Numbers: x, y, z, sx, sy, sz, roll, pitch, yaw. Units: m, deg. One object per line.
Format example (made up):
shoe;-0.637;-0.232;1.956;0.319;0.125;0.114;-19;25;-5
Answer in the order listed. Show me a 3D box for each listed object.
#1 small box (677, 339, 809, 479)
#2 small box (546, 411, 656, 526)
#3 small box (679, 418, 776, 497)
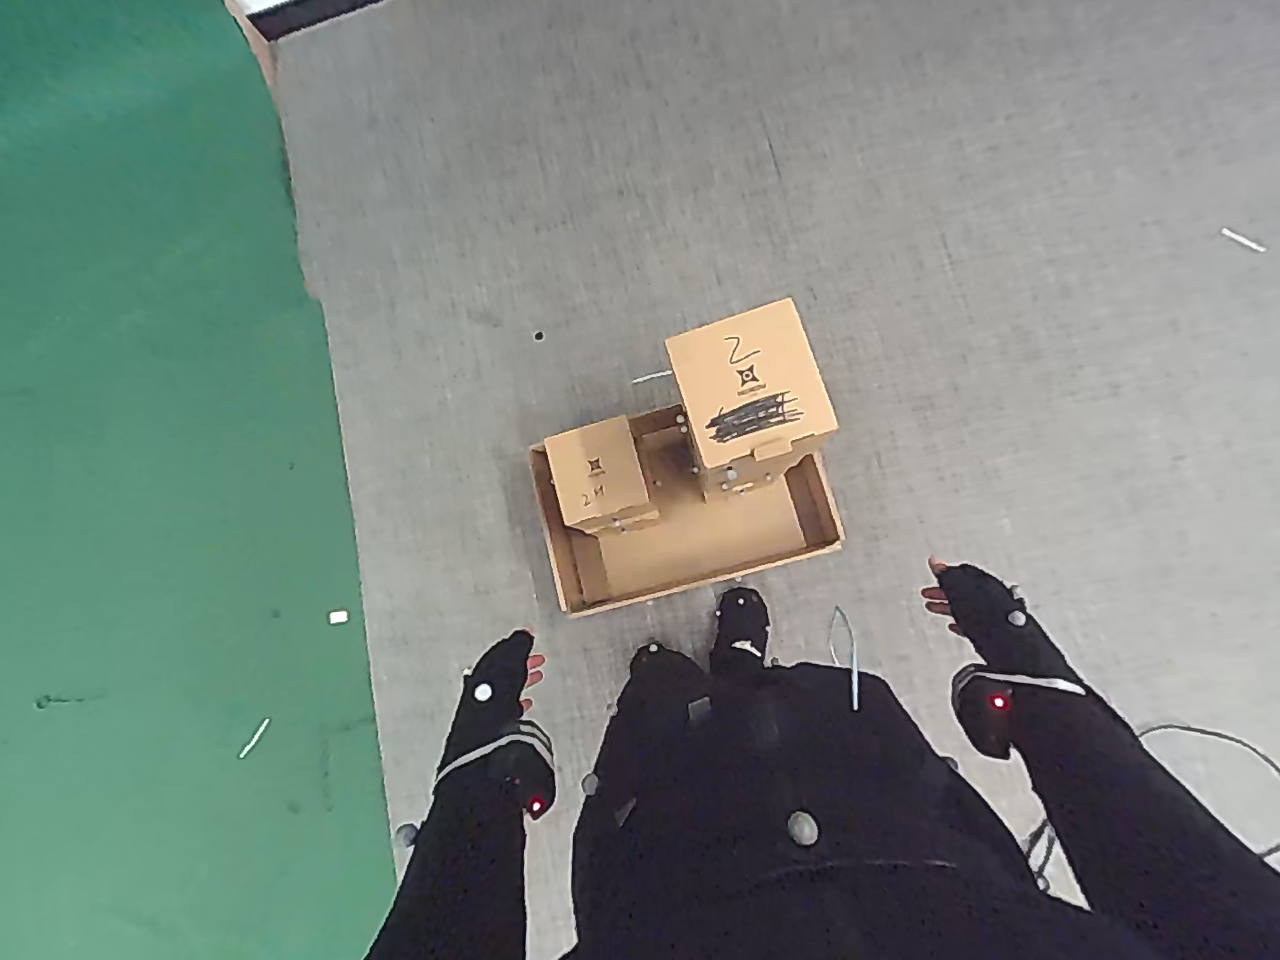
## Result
small box;0.165;-0.104;0.895;0.168;0.176;0.179;-15;81;6
small box;-0.071;-0.015;1.080;0.168;0.176;0.179;-16;81;5
small box;0.199;-0.065;1.219;0.168;0.176;0.179;-20;80;6
